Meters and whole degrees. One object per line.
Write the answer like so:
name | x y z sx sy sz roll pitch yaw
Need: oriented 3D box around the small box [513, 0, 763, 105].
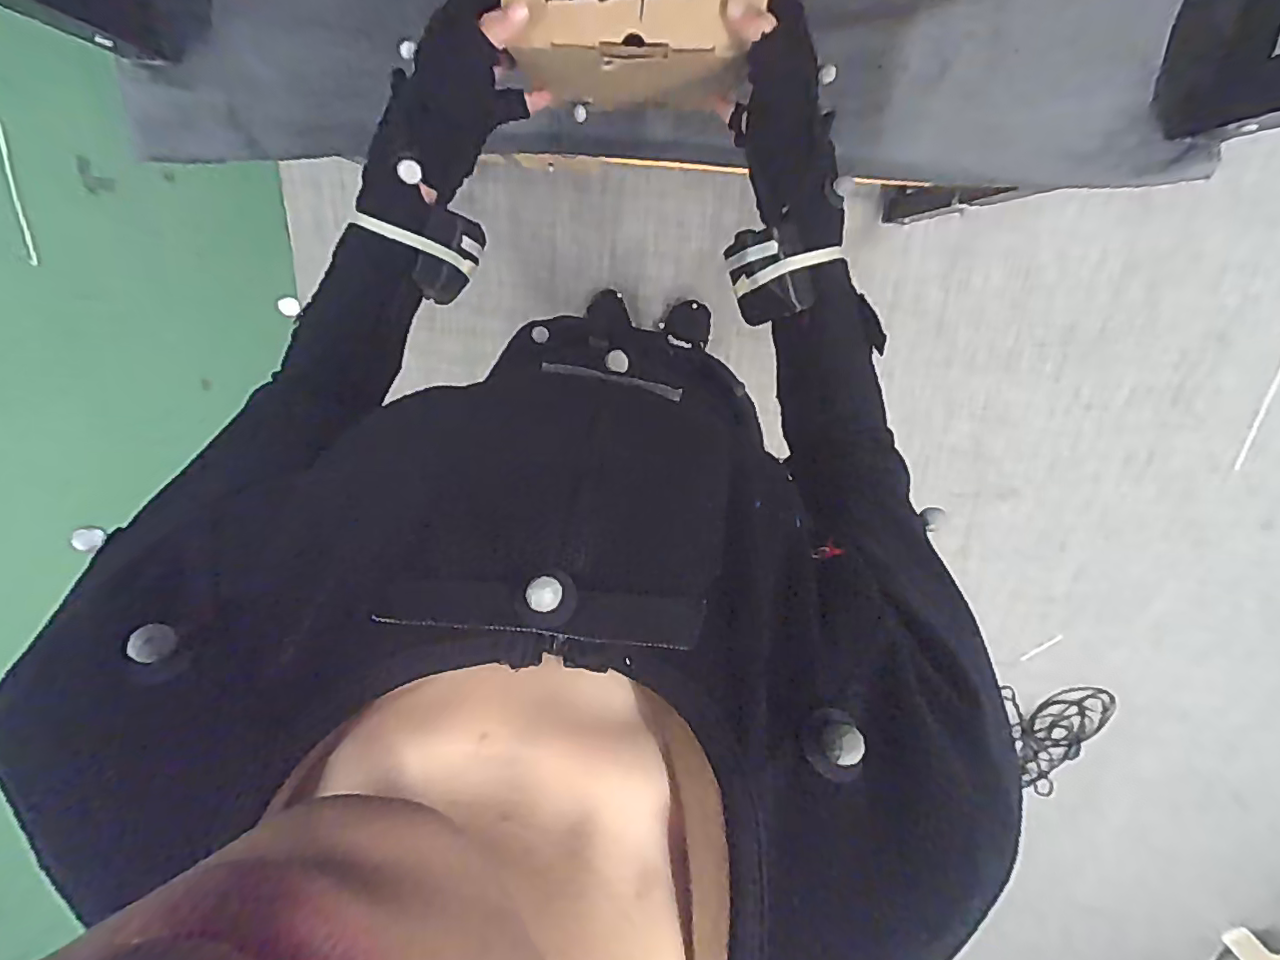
small box | 0.003 -0.395 0.396 0.168 0.176 0.179 1 113 1
